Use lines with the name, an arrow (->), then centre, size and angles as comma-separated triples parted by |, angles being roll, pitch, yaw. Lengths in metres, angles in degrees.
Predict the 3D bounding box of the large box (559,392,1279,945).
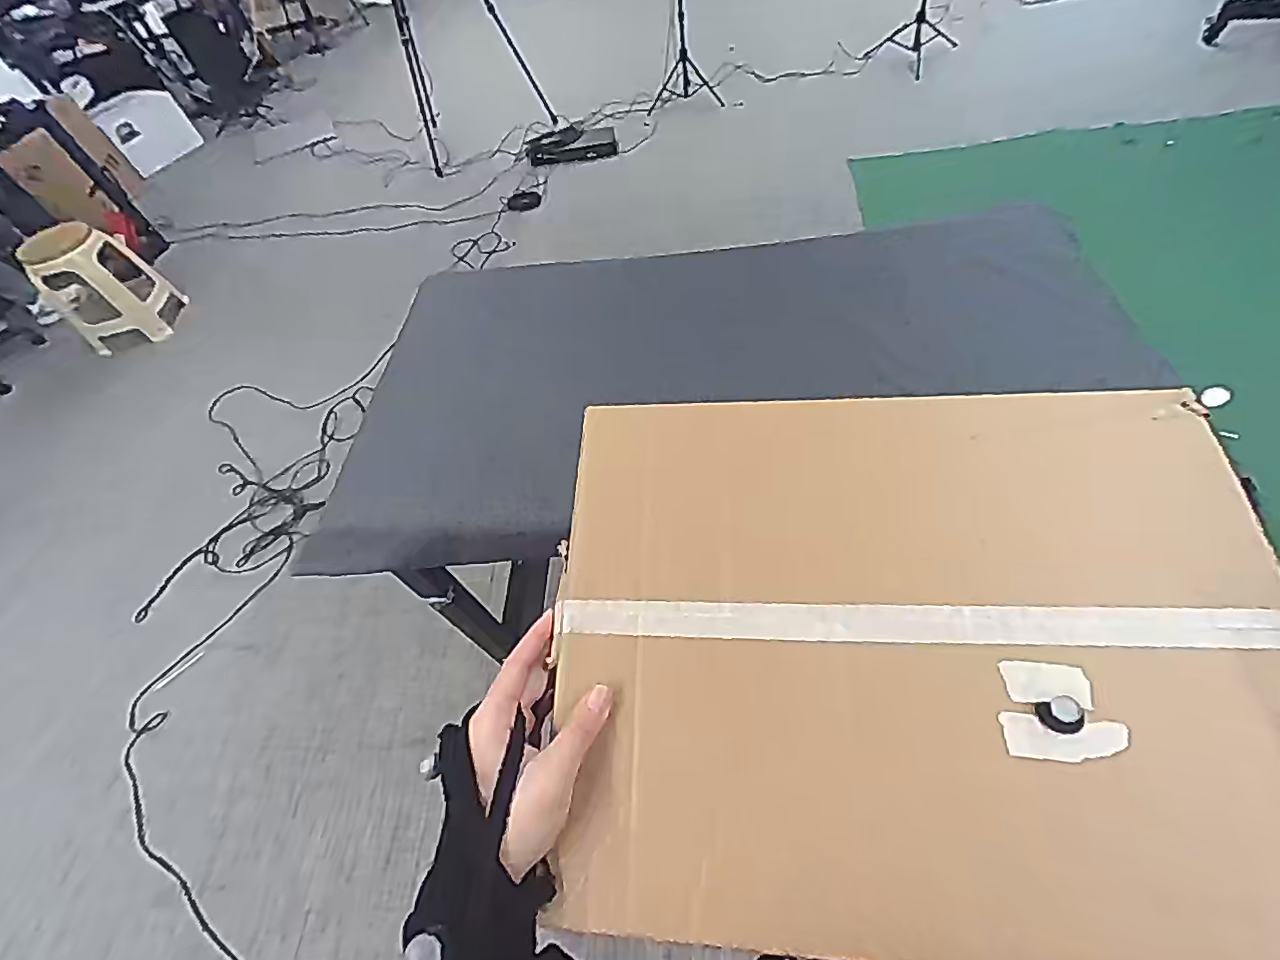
large box -> 0.171, 0.145, 0.461 | 0.408, 0.320, 0.320 | 0, 64, 6
